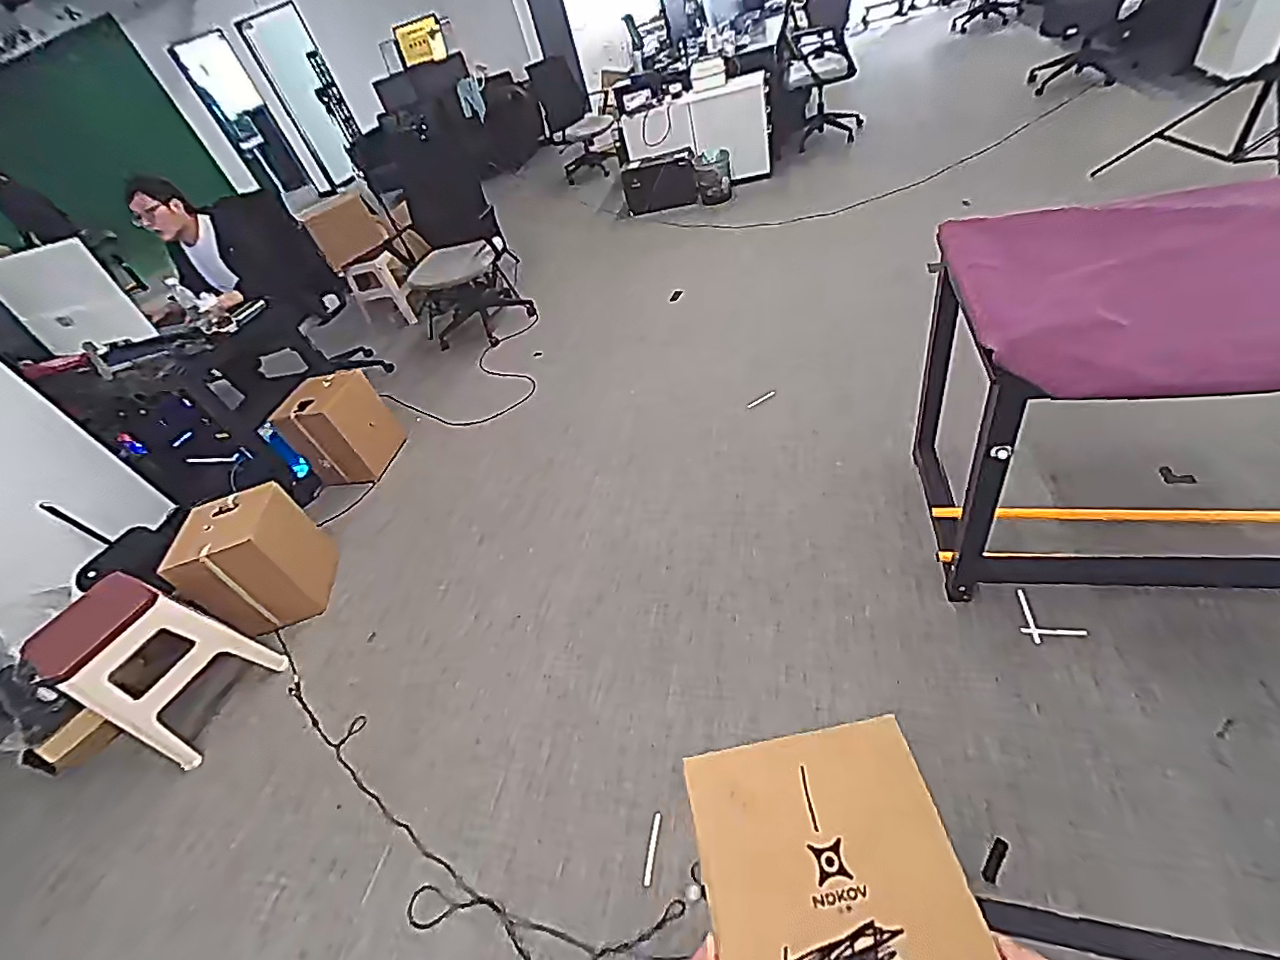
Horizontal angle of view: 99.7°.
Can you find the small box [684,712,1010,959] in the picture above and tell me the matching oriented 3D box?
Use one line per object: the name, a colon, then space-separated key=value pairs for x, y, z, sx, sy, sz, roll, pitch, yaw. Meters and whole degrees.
small box: x=0.133 y=0.299 z=0.406 sx=0.168 sy=0.176 sz=0.179 roll=-11 pitch=51 yaw=-2
